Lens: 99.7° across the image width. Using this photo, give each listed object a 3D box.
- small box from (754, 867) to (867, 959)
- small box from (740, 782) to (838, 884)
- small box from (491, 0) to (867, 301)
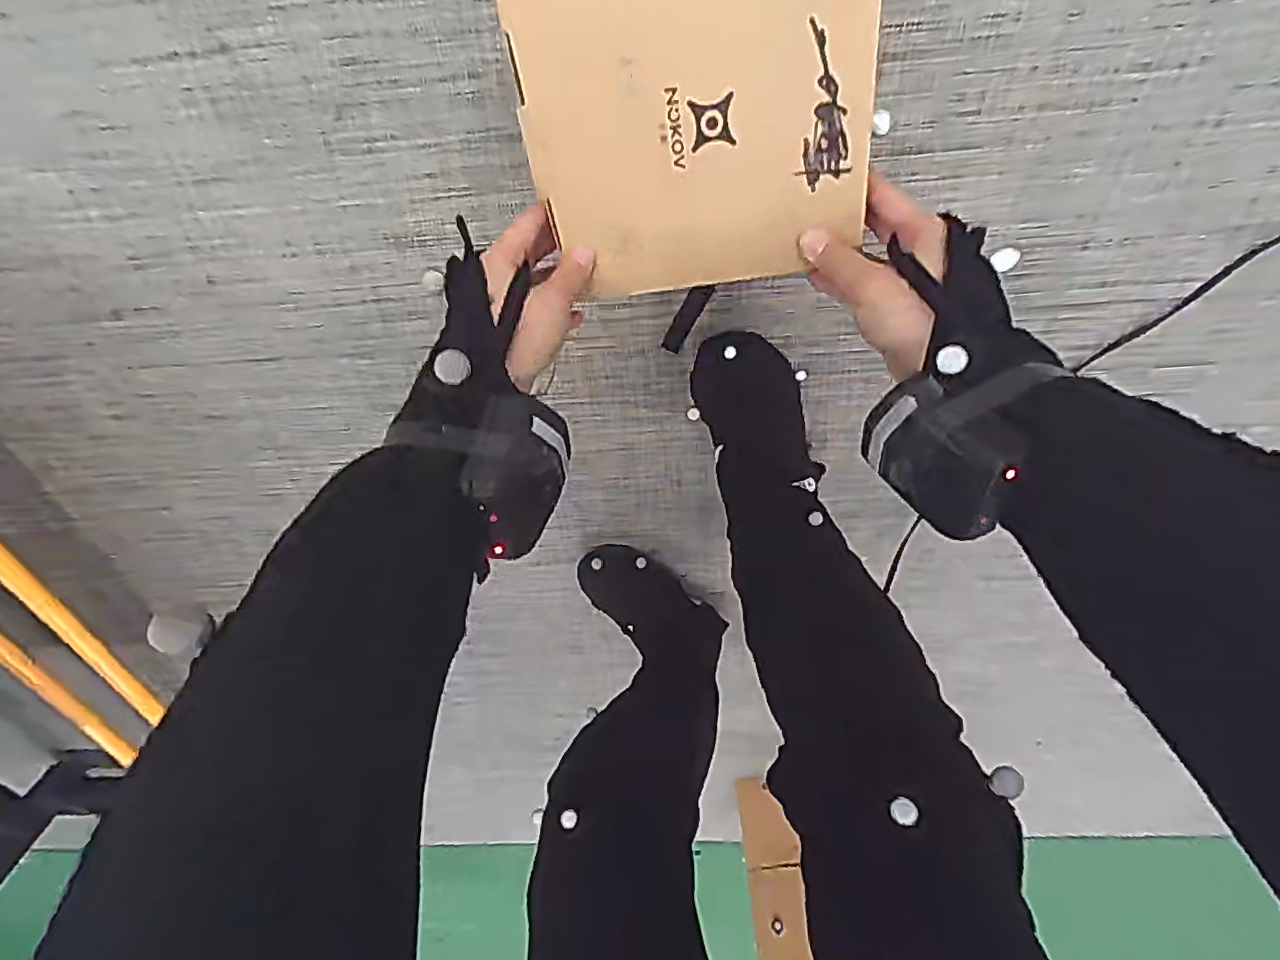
[{"bbox_3d":[0.311,0.838,0.989,0.179,0.176,0.168,-13,126,10],"label":"small box"},{"bbox_3d":[0.309,0.750,1.126,0.168,0.176,0.179,-10,126,9],"label":"small box"},{"bbox_3d":[0.035,-0.232,0.345,0.179,0.176,0.168,-4,129,12],"label":"small box"}]
